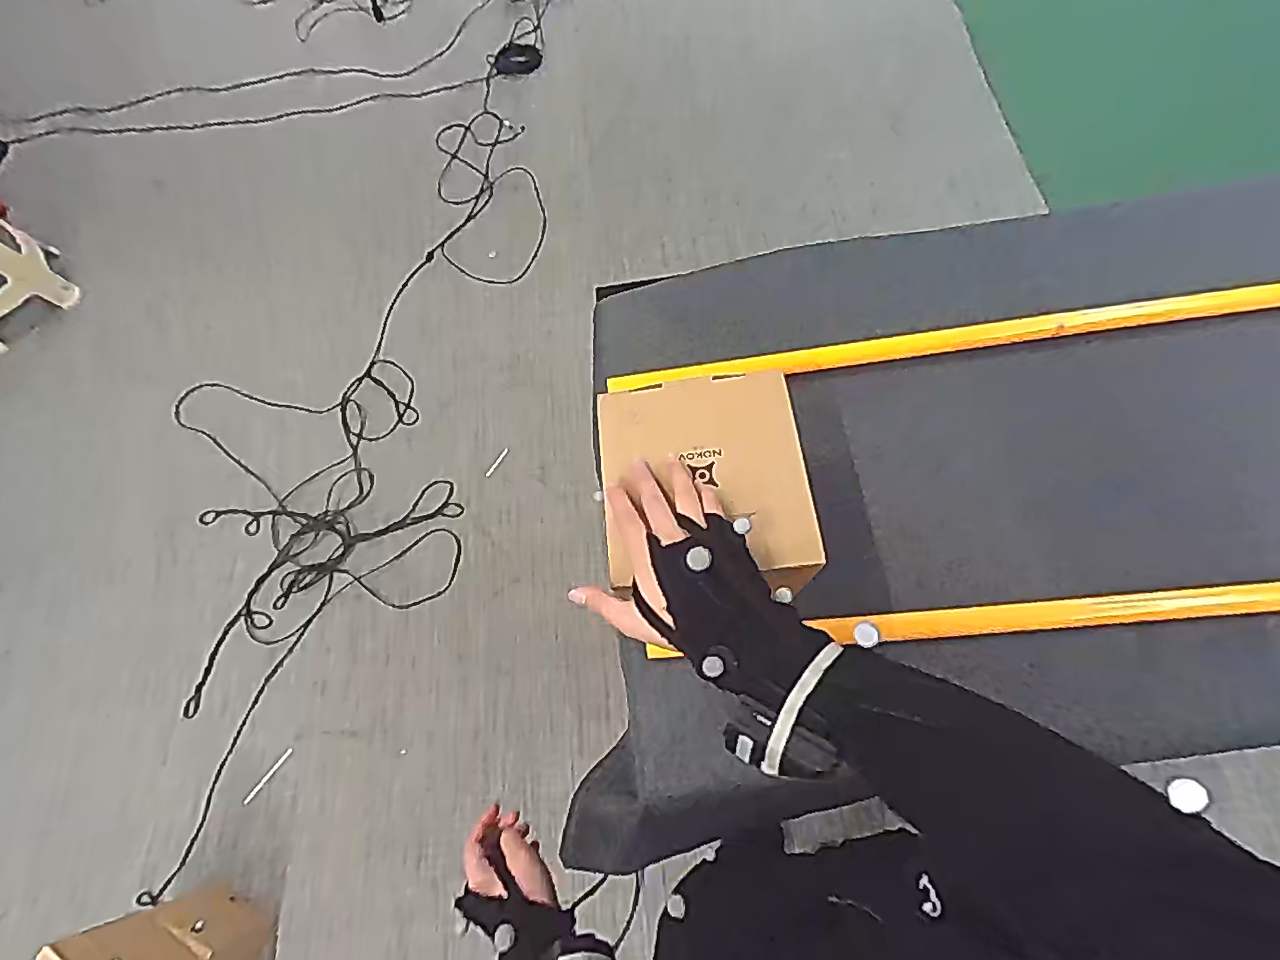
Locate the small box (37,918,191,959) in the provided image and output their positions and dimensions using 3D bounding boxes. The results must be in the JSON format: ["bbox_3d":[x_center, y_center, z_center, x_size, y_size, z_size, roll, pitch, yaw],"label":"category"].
[{"bbox_3d":[-0.894,0.872,0.886,0.179,0.176,0.168,22,71,16],"label":"small box"}]

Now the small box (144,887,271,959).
[{"bbox_3d":[-0.865,0.935,1.036,0.168,0.176,0.179,18,71,13],"label":"small box"}]

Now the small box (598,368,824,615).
[{"bbox_3d":[0.058,0.022,0.514,0.168,0.176,0.179,-8,68,4],"label":"small box"}]
